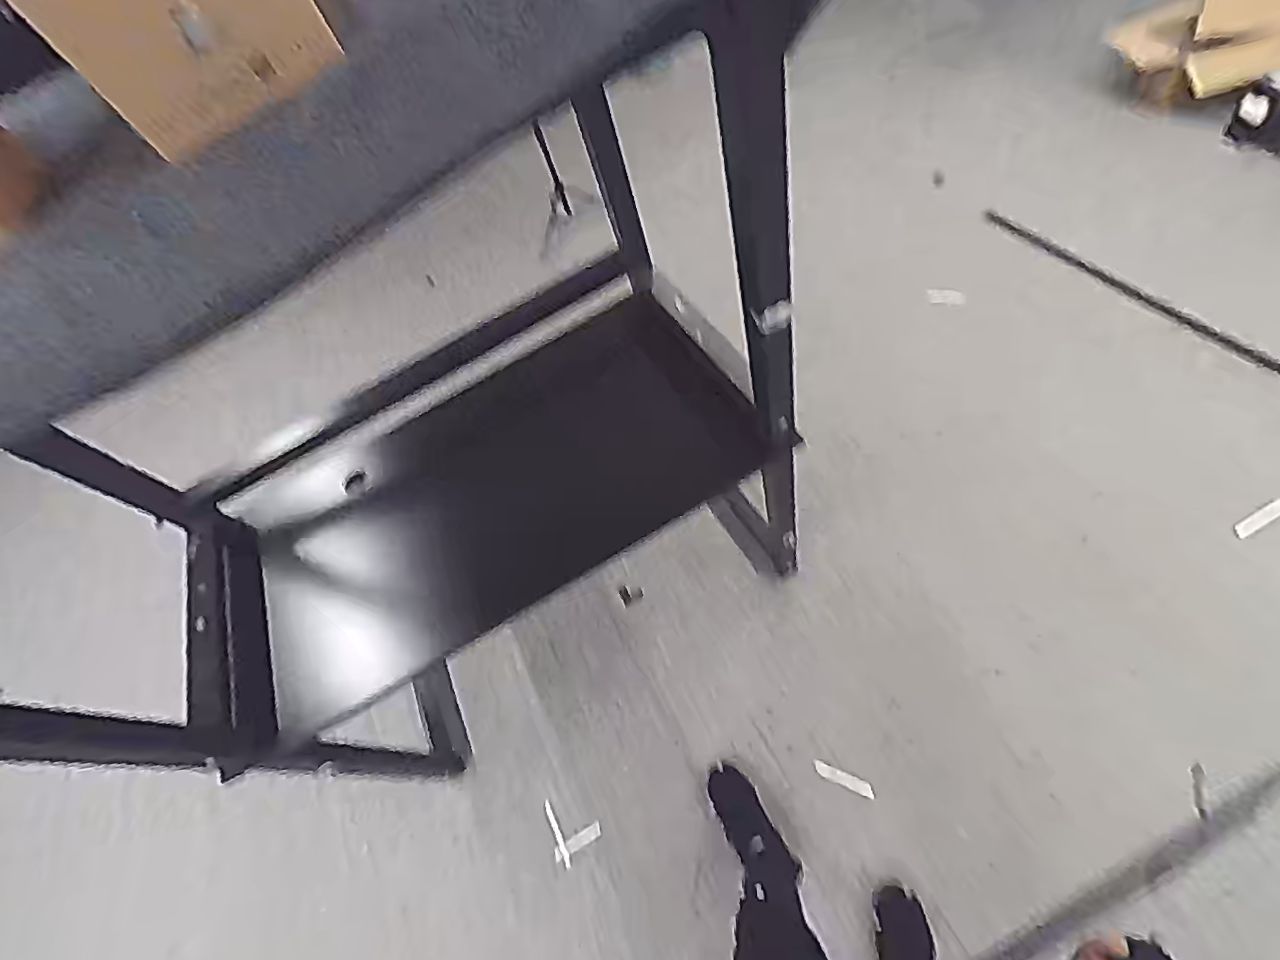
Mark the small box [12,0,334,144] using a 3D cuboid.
[{"bbox_3d":[-0.372,-0.390,0.403,0.168,0.176,0.179,-38,58,-7],"label":"small box"}]
